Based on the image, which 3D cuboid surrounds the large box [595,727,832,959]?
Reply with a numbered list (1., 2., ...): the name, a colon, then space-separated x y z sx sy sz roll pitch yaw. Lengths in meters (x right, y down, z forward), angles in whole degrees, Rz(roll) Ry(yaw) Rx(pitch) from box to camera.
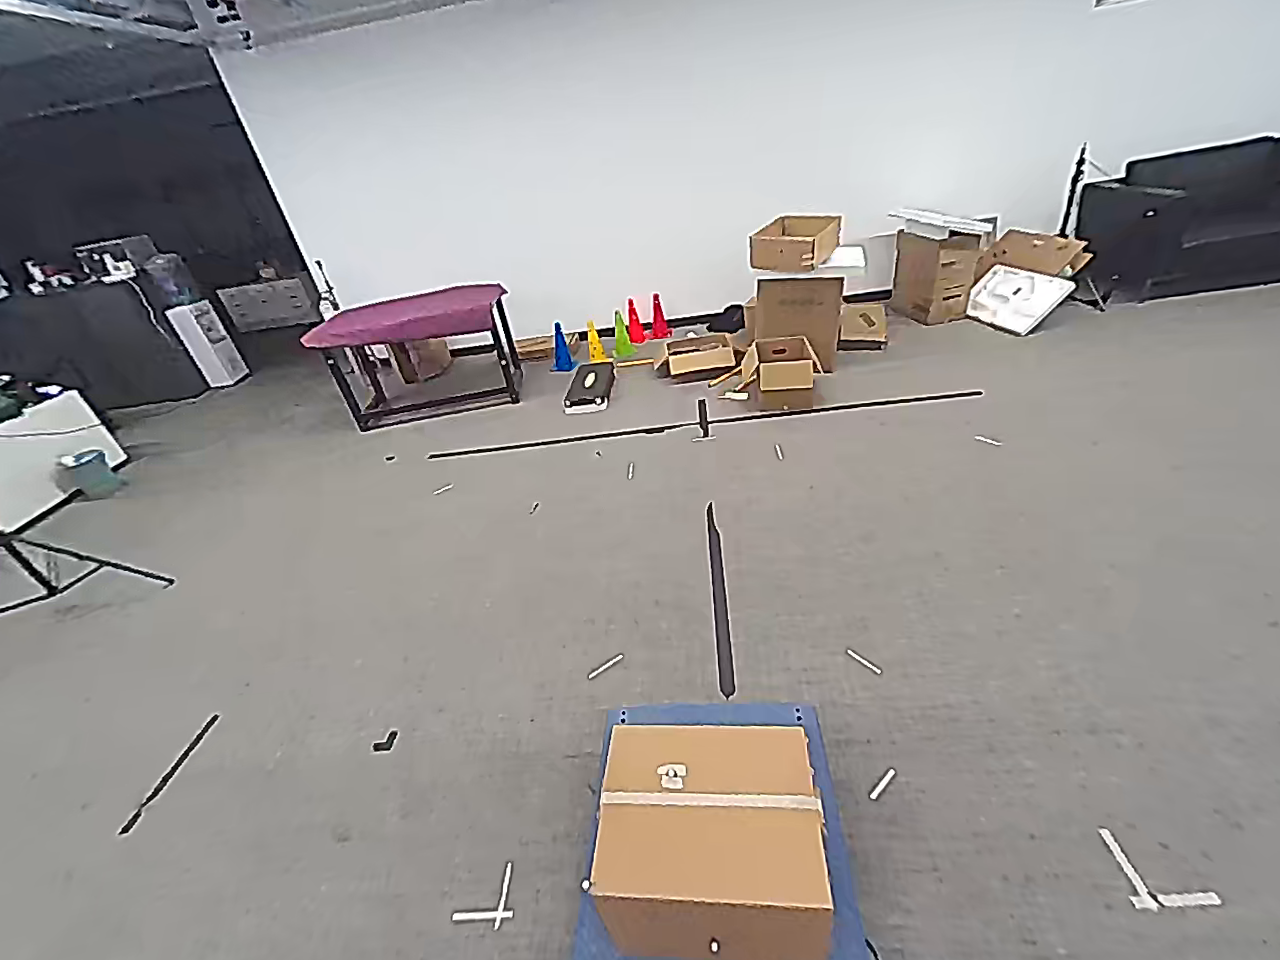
1. large box: 0.153 0.740 1.106 0.408 0.320 0.320 -6 32 9
